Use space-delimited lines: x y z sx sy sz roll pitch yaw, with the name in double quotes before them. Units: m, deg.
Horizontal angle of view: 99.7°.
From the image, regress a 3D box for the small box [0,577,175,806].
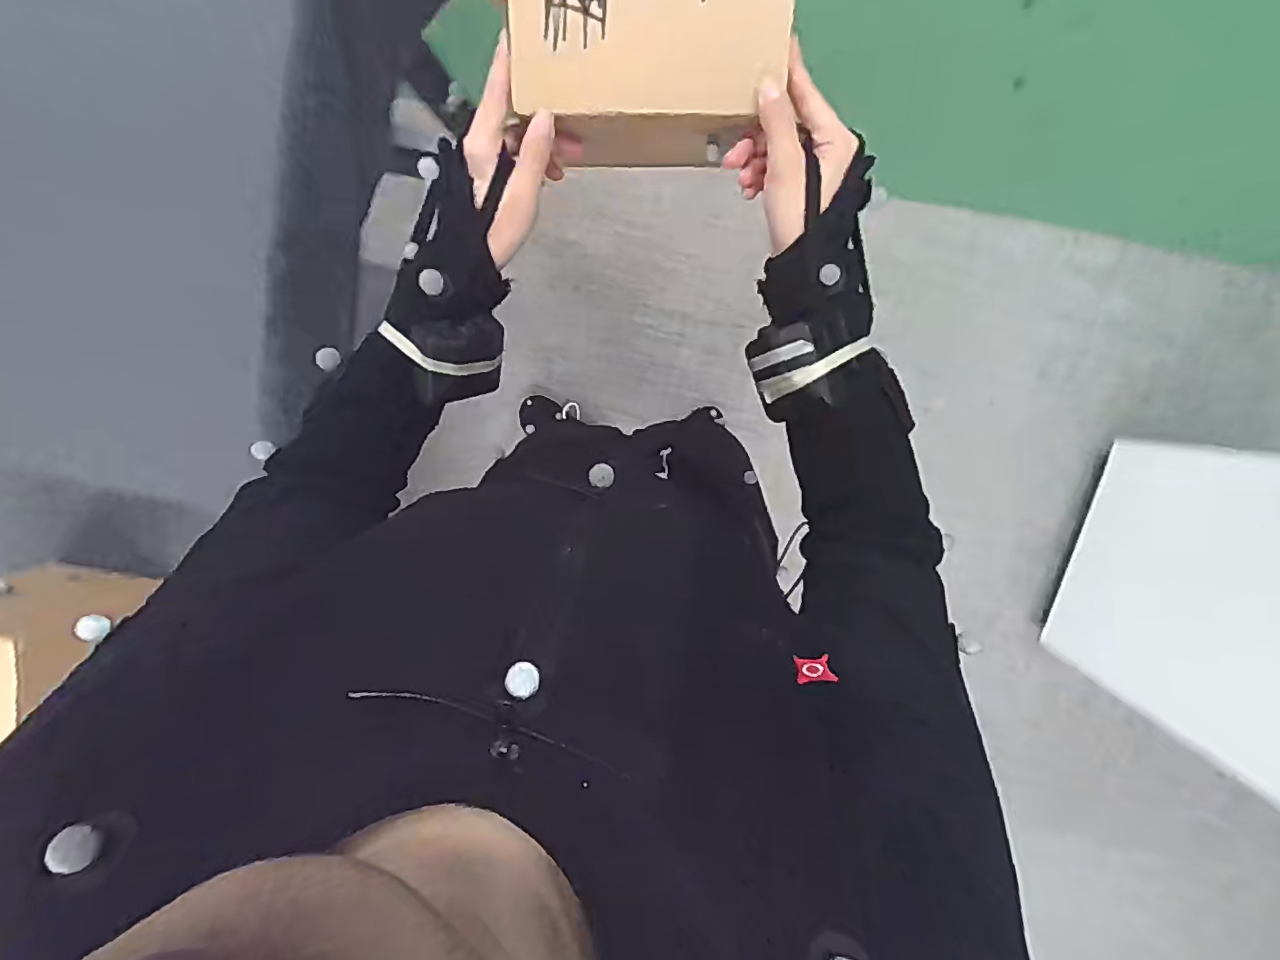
"small box" -0.680 0.223 0.617 0.168 0.176 0.179 7 100 4
